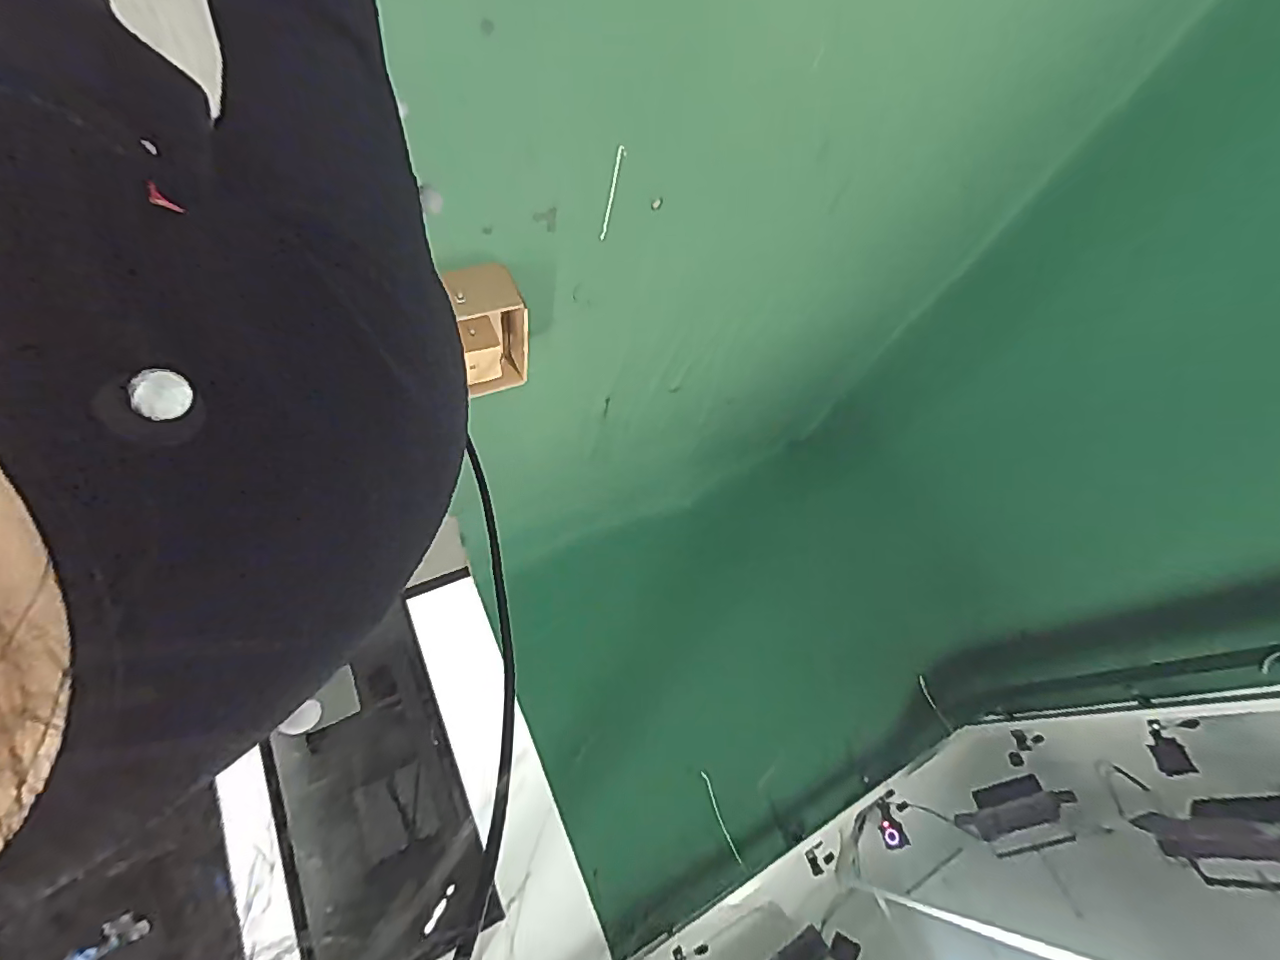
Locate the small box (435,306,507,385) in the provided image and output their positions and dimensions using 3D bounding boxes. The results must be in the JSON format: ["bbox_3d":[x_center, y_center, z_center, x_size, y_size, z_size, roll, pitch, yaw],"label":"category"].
[{"bbox_3d":[-0.545,-0.440,1.755,0.179,0.176,0.168,-19,160,-21],"label":"small box"}]
